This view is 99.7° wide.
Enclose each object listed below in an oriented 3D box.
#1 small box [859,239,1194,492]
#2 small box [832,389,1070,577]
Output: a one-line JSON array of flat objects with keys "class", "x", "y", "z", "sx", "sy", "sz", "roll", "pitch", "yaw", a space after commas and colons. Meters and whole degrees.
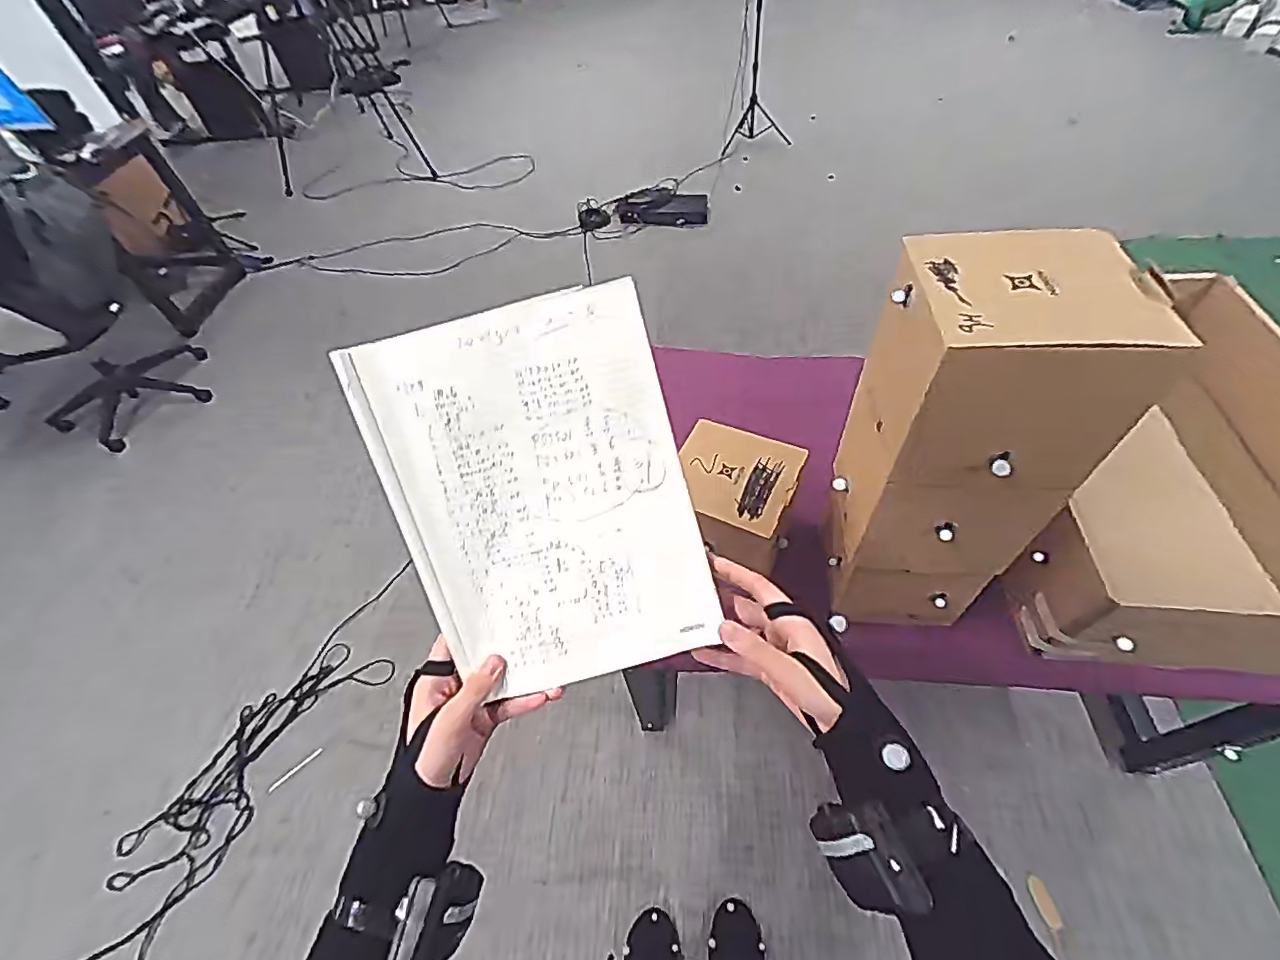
[{"class": "small box", "x": 0.325, "y": -0.103, "z": 0.505, "sx": 0.179, "sy": 0.176, "sz": 0.168, "roll": 2, "pitch": 50, "yaw": 7}, {"class": "small box", "x": 0.338, "y": 0.000, "z": 0.633, "sx": 0.179, "sy": 0.176, "sz": 0.168, "roll": 2, "pitch": 51, "yaw": 8}]
